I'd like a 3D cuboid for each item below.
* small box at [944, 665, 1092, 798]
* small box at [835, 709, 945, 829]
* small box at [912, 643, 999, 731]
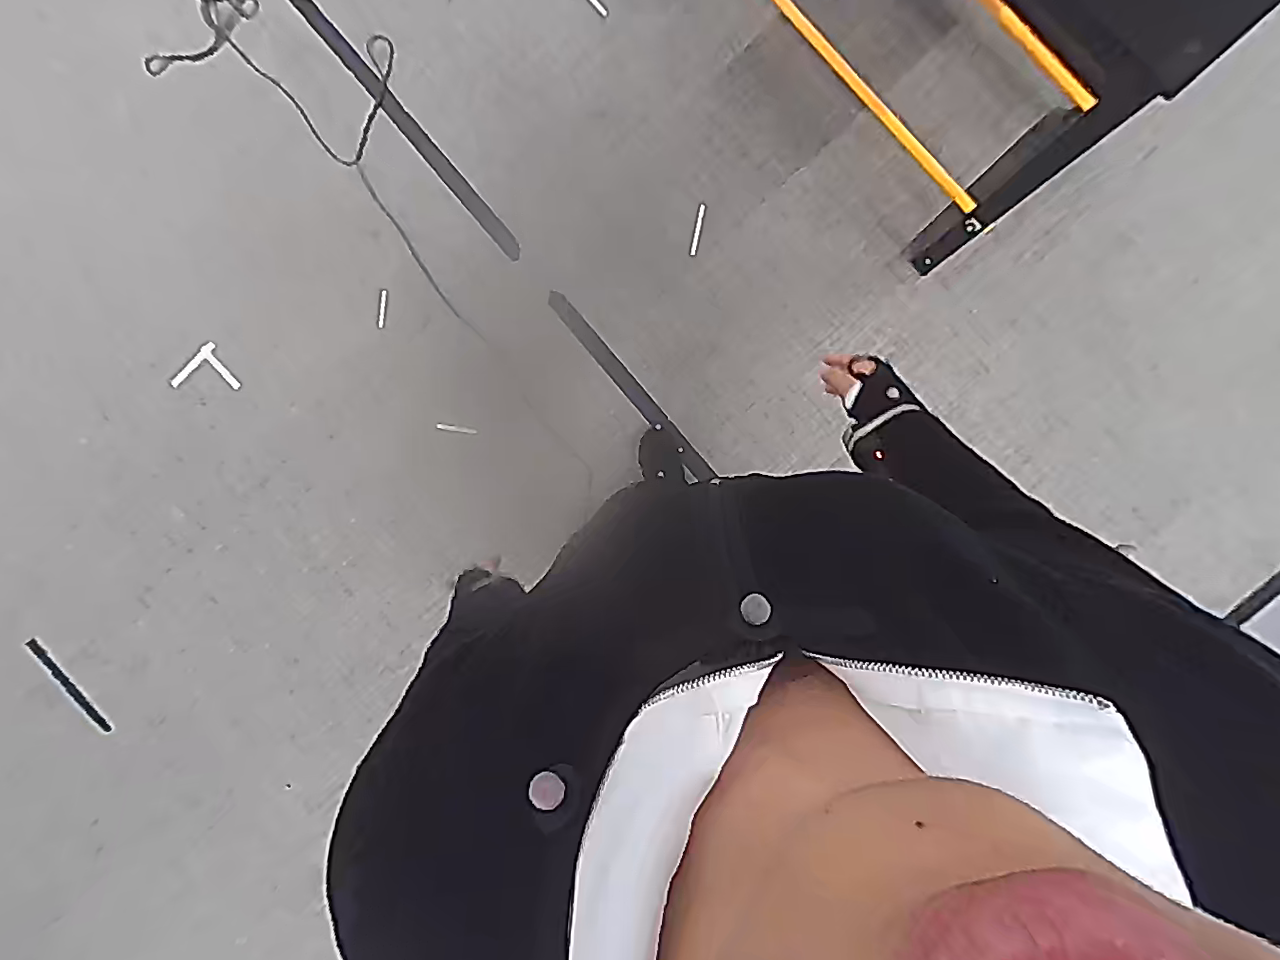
[{"bbox_3d":[0.830,0.549,1.208,0.179,0.176,0.168,-40,89,4],"label":"small box"},{"bbox_3d":[0.628,0.734,1.391,0.179,0.176,0.168,-43,89,4],"label":"small box"},{"bbox_3d":[0.836,0.538,1.374,0.168,0.176,0.179,-39,89,3],"label":"small box"}]
